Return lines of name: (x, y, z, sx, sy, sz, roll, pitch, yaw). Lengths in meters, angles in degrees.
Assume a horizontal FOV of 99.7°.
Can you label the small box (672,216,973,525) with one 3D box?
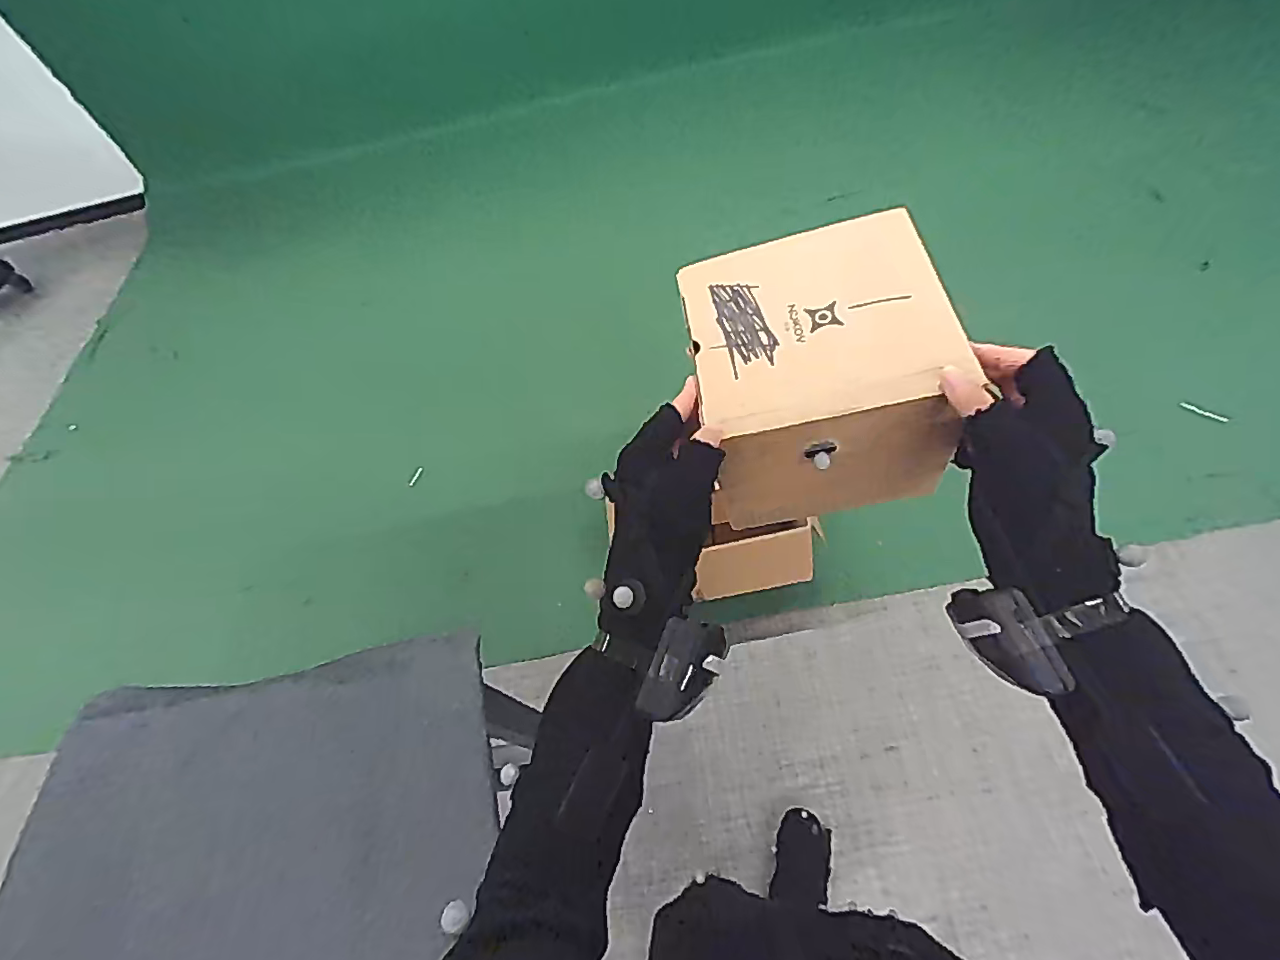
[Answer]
small box: (0.136, -0.074, 0.451, 0.179, 0.176, 0.168, -12, 62, 11)
